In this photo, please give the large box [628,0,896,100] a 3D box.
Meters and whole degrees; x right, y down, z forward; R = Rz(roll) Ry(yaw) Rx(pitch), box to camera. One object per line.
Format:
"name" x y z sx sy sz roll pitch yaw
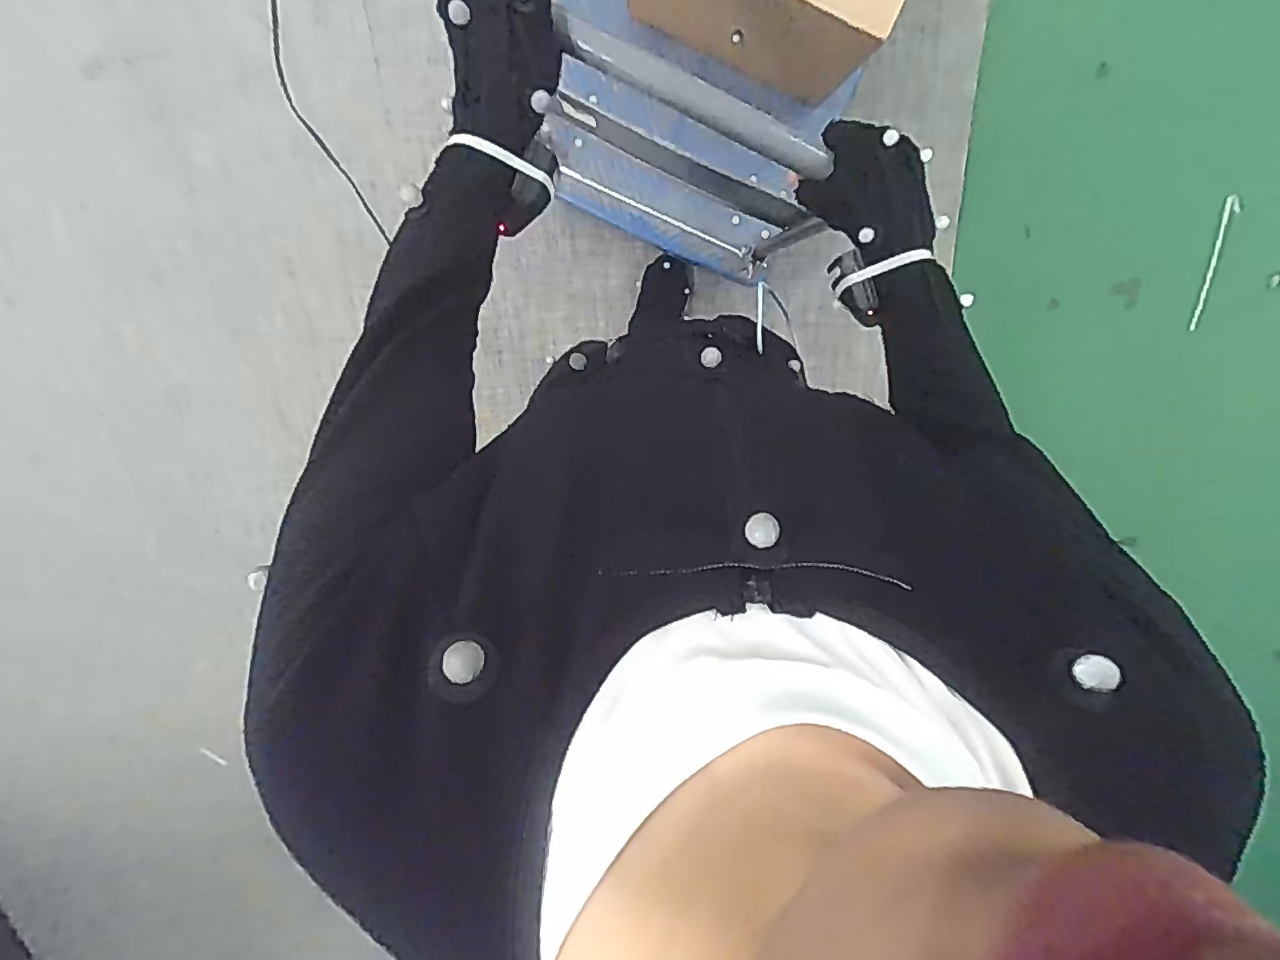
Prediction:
"large box" 0.216 -0.890 0.857 0.408 0.320 0.320 20 108 -8
